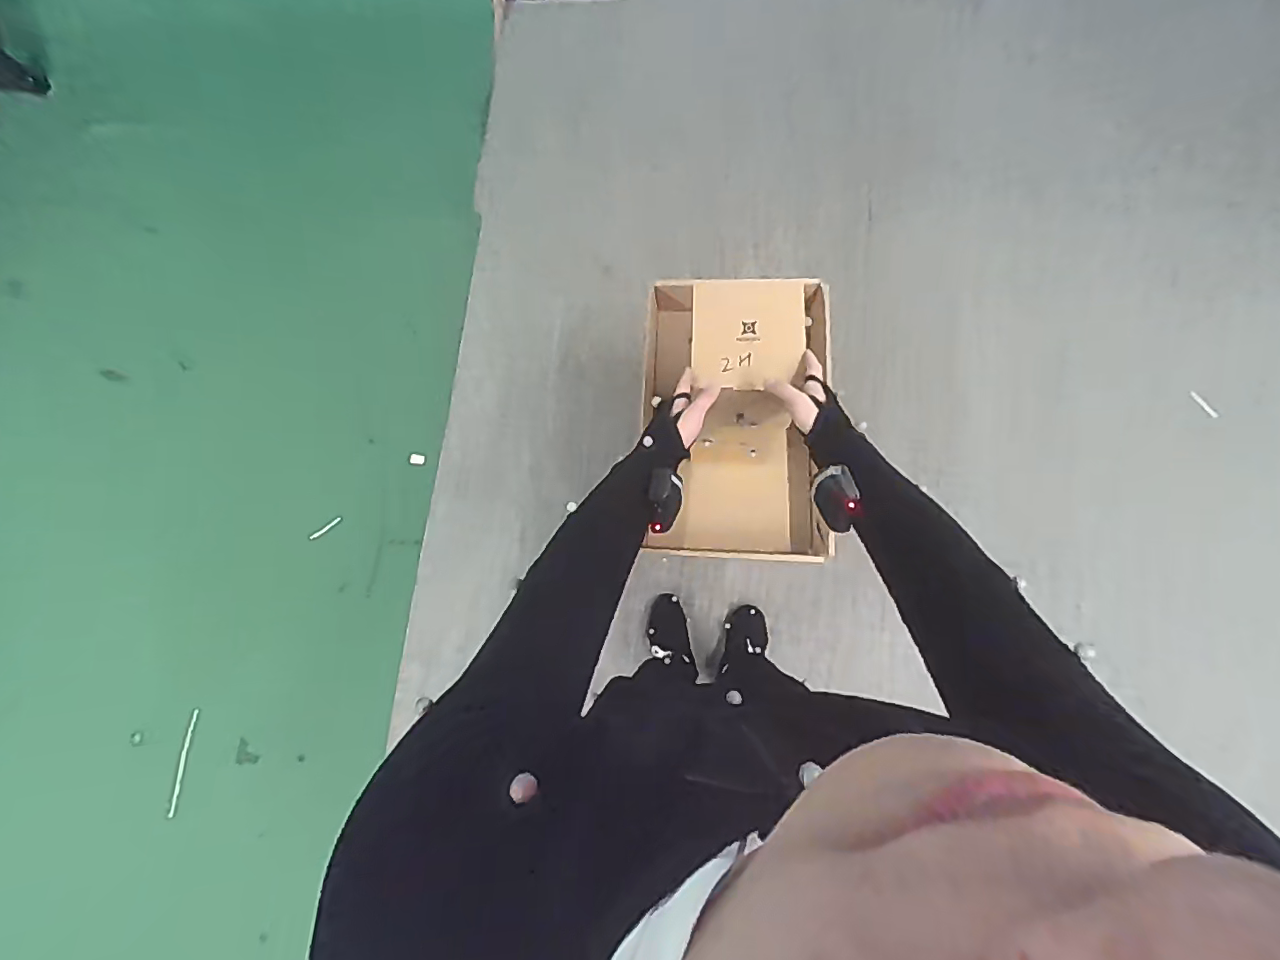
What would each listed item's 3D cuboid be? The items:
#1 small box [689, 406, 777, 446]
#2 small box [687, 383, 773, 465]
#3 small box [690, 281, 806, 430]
[{"bbox_3d":[0.183,-0.169,1.029,0.168,0.176,0.179,4,78,6],"label":"small box"},{"bbox_3d":[0.195,-0.132,1.189,0.179,0.176,0.168,2,79,5],"label":"small box"},{"bbox_3d":[0.164,-0.191,0.861,0.168,0.176,0.179,1,76,7],"label":"small box"}]
